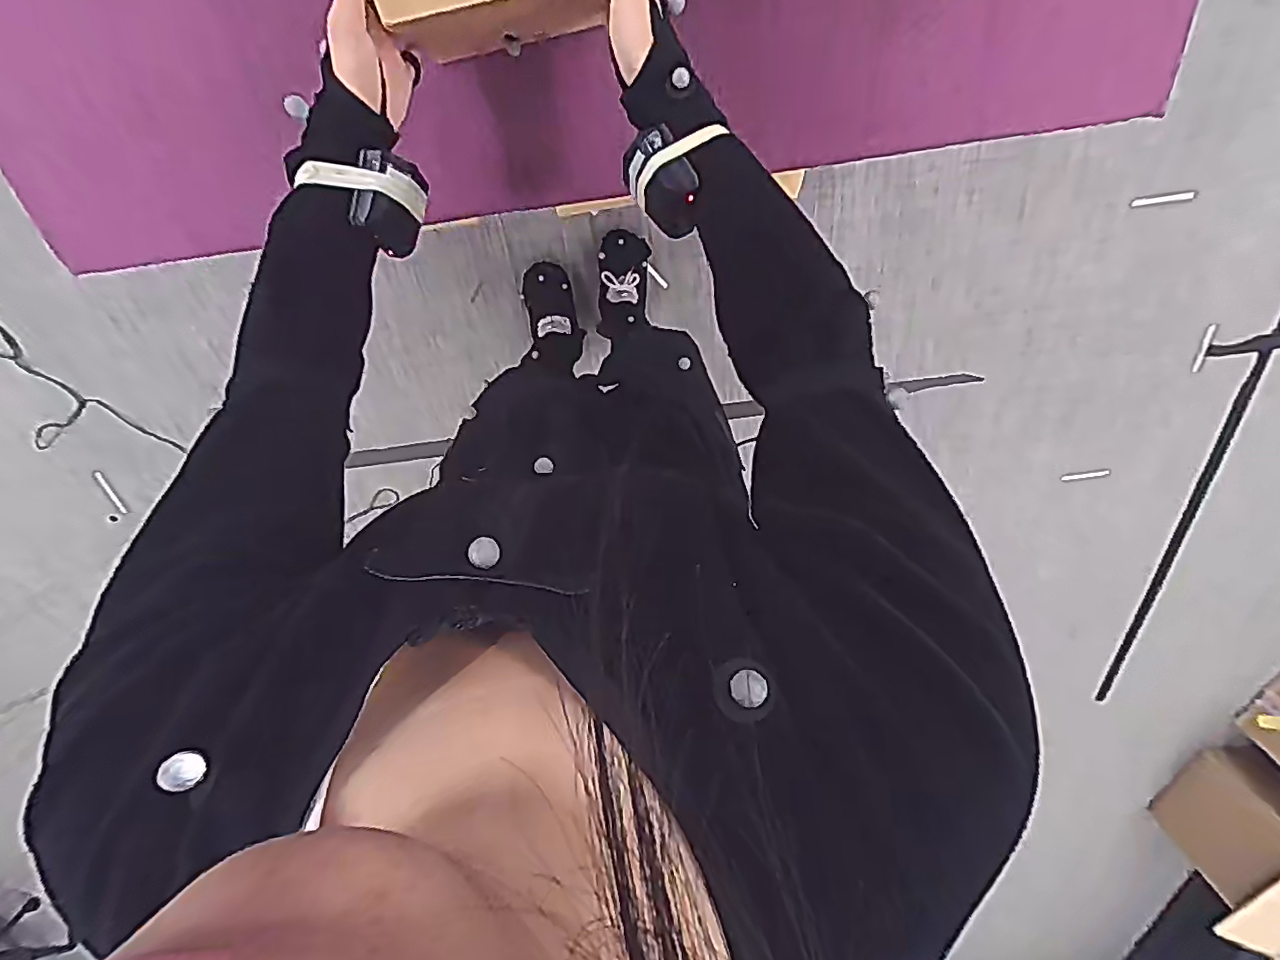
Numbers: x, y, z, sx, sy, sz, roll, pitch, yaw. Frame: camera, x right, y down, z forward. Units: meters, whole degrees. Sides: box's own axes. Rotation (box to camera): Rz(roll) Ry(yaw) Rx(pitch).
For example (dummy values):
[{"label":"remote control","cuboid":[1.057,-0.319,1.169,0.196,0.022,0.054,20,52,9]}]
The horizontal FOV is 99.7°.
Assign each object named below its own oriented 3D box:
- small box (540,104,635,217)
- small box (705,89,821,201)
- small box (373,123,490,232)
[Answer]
[{"label":"small box","cuboid":[-0.107,-0.663,1.128,0.168,0.176,0.179,-8,122,1]},{"label":"small box","cuboid":[0.248,-0.700,1.136,0.179,0.176,0.168,7,120,-7]},{"label":"small box","cuboid":[-0.422,-0.625,1.126,0.168,0.176,0.179,-7,119,-1]}]
